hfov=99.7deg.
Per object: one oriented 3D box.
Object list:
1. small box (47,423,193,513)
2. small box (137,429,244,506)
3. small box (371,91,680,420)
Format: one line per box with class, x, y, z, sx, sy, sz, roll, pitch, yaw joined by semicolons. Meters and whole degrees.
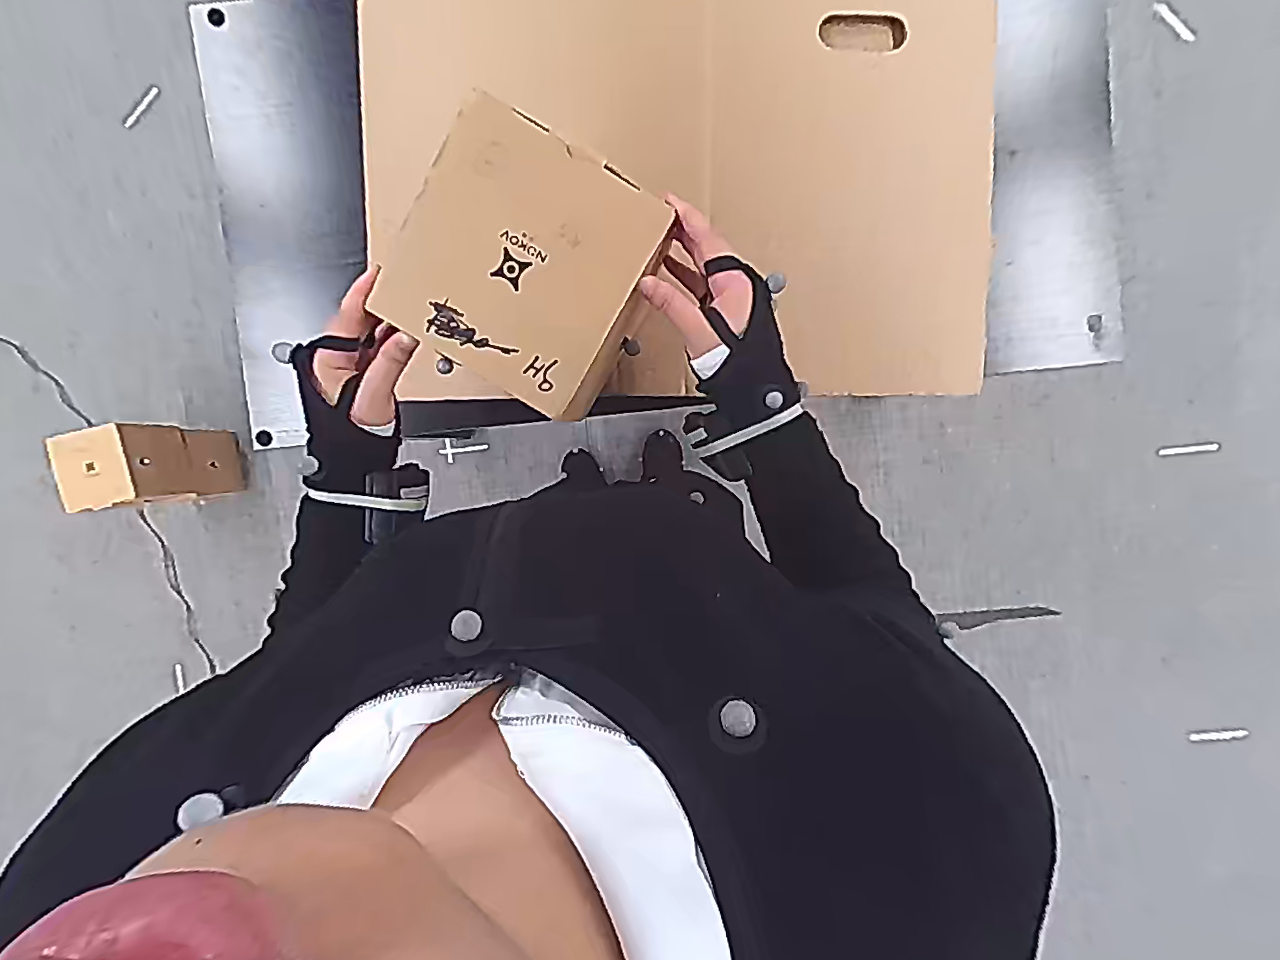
small box;-1.207;-0.031;1.271;0.168;0.176;0.179;-13;92;1
small box;-1.201;-0.034;1.434;0.168;0.176;0.179;-9;94;2
small box;-0.084;-0.167;0.468;0.168;0.176;0.179;31;94;-1
